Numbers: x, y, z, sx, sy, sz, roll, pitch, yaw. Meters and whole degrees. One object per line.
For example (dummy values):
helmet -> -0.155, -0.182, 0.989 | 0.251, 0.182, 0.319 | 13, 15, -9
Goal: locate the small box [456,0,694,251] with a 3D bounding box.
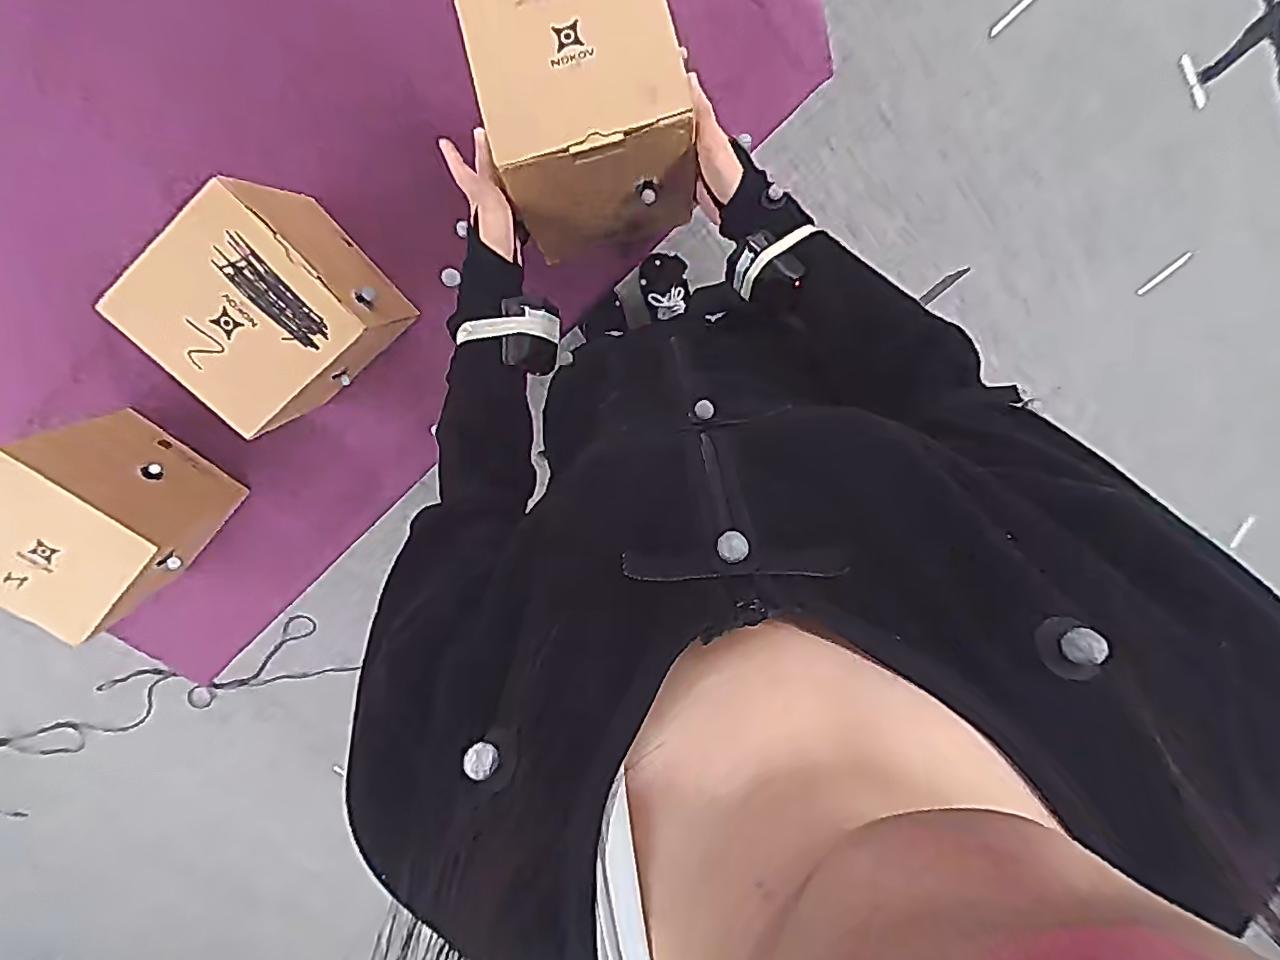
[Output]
small box -> -0.050, -0.340, 0.505 | 0.168, 0.176, 0.179 | -14, 84, 2

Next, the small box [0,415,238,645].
small box -> -0.629, 0.048, 0.638 | 0.179, 0.176, 0.168 | -44, 107, 12
